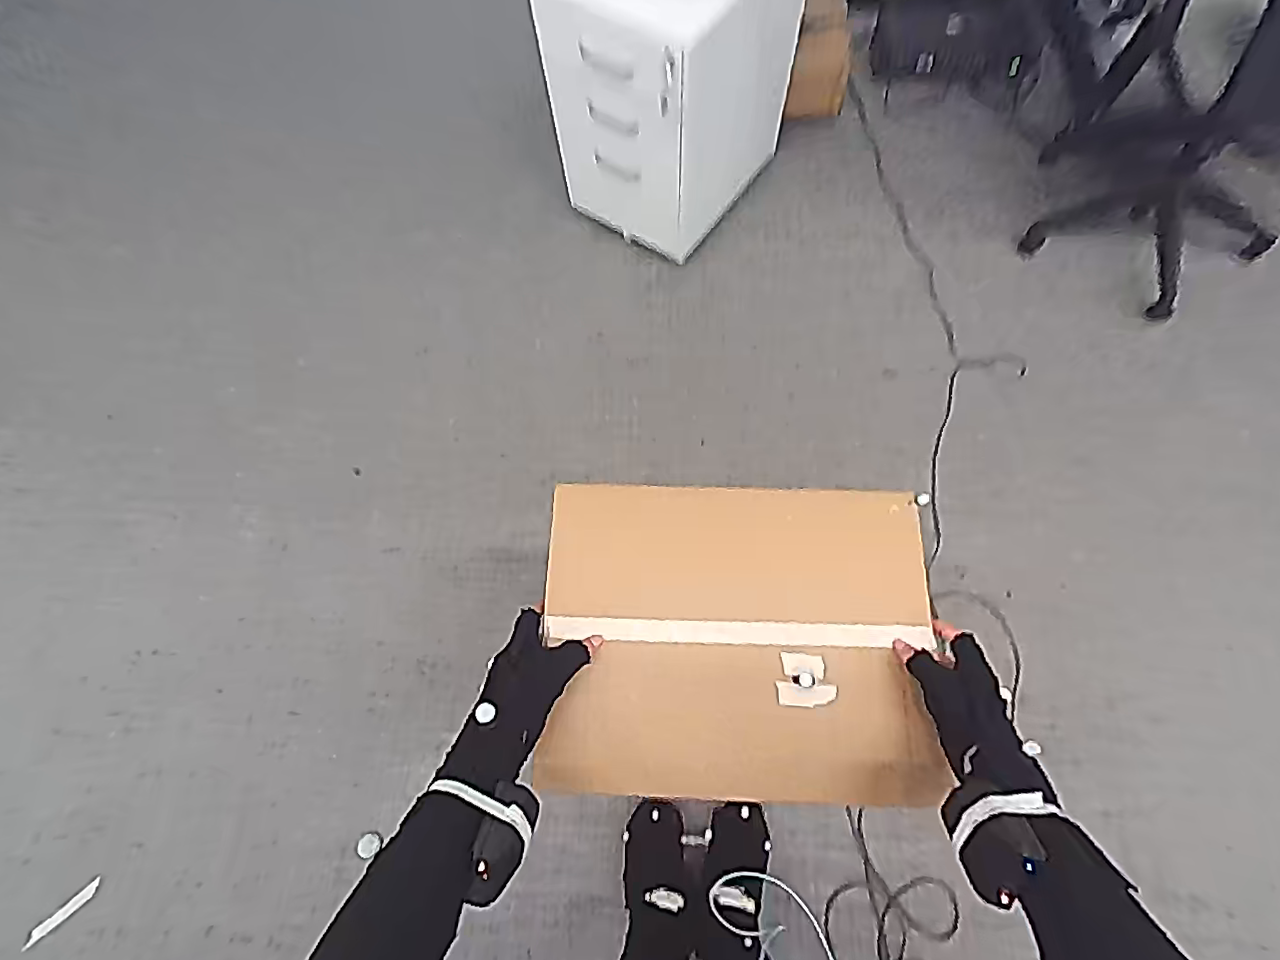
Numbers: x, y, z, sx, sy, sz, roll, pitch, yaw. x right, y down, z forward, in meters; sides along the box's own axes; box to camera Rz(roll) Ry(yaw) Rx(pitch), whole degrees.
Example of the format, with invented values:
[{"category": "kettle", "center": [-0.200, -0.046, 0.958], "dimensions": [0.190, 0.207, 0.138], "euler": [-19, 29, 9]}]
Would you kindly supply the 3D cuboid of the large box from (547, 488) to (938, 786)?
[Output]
[{"category": "large box", "center": [0.106, 0.205, 0.731], "dimensions": [0.408, 0.320, 0.320], "euler": [1, 73, 2]}]
